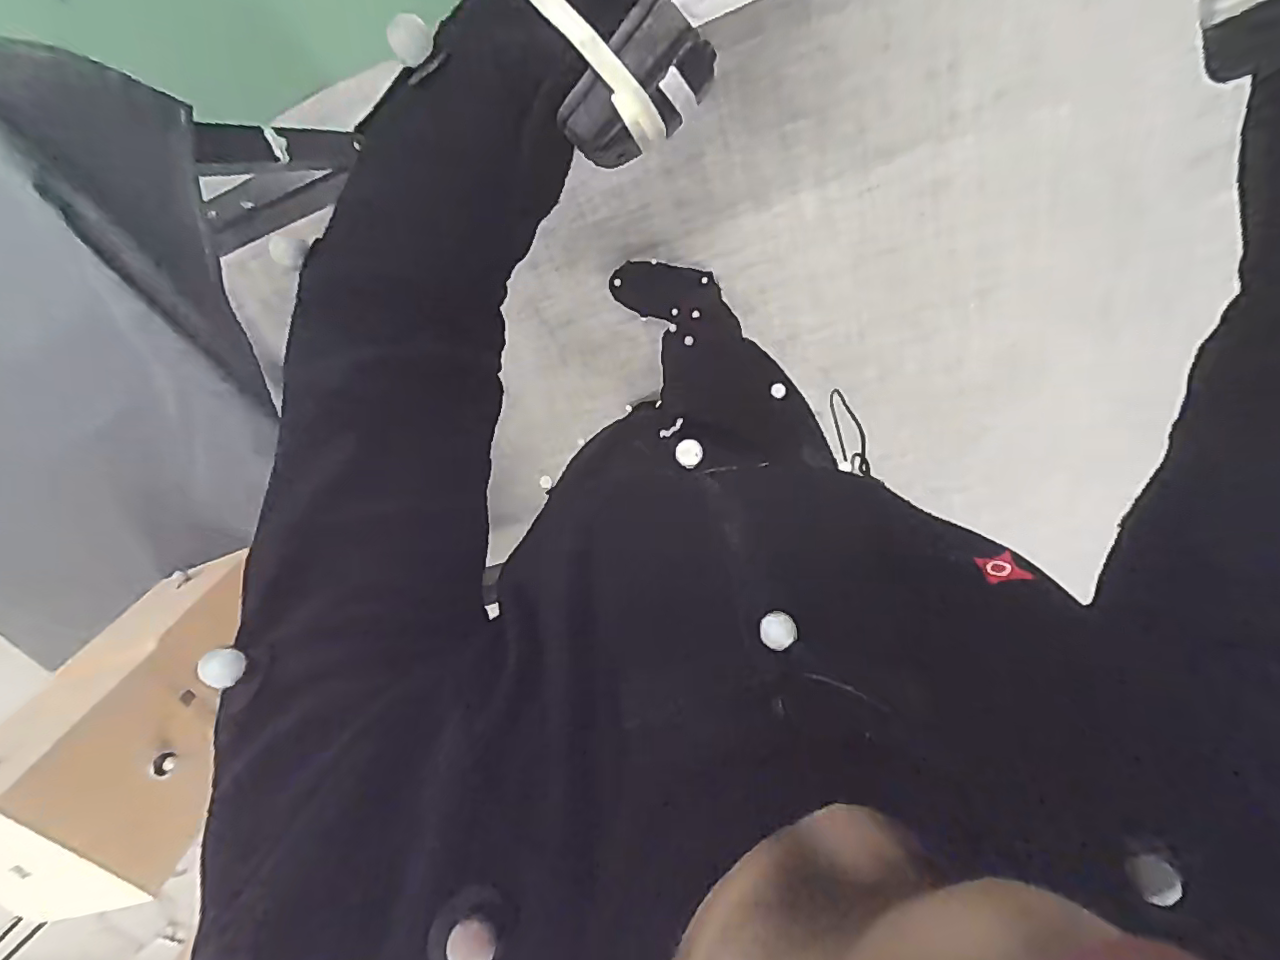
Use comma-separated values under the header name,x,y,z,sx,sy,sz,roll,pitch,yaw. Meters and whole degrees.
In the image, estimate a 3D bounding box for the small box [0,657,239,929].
name,x,y,z,sx,sy,sz,roll,pitch,yaw
small box,-0.555,0.304,0.540,0.179,0.176,0.168,-19,118,13
